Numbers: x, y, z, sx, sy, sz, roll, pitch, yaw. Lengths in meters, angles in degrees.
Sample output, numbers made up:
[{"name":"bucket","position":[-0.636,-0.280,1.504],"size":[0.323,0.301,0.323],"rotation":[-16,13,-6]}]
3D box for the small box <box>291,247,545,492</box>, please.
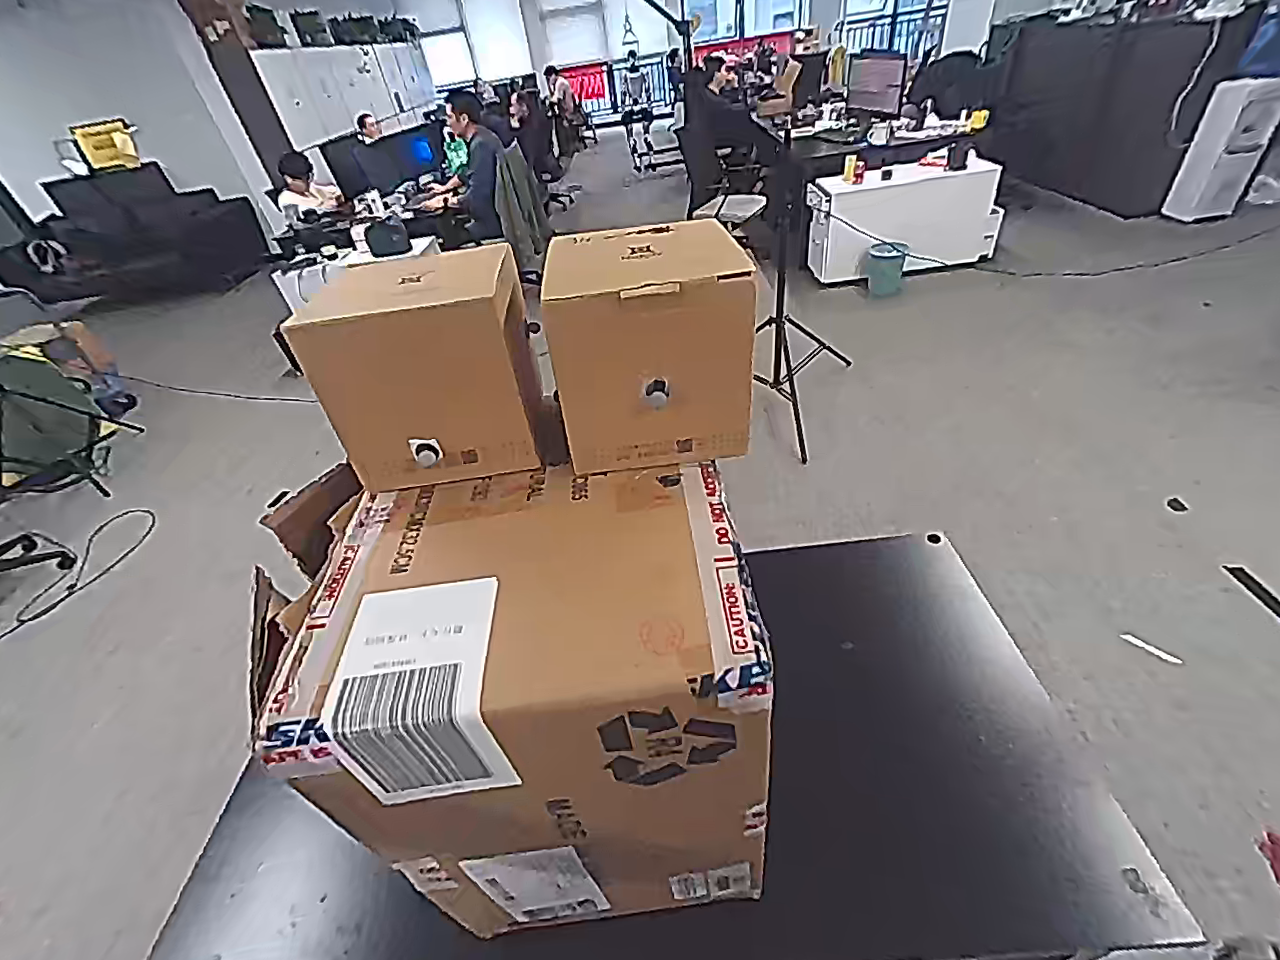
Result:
[{"name":"small box","position":[-0.193,-0.112,0.535],"size":[0.168,0.176,0.179],"rotation":[-10,38,-2]}]
